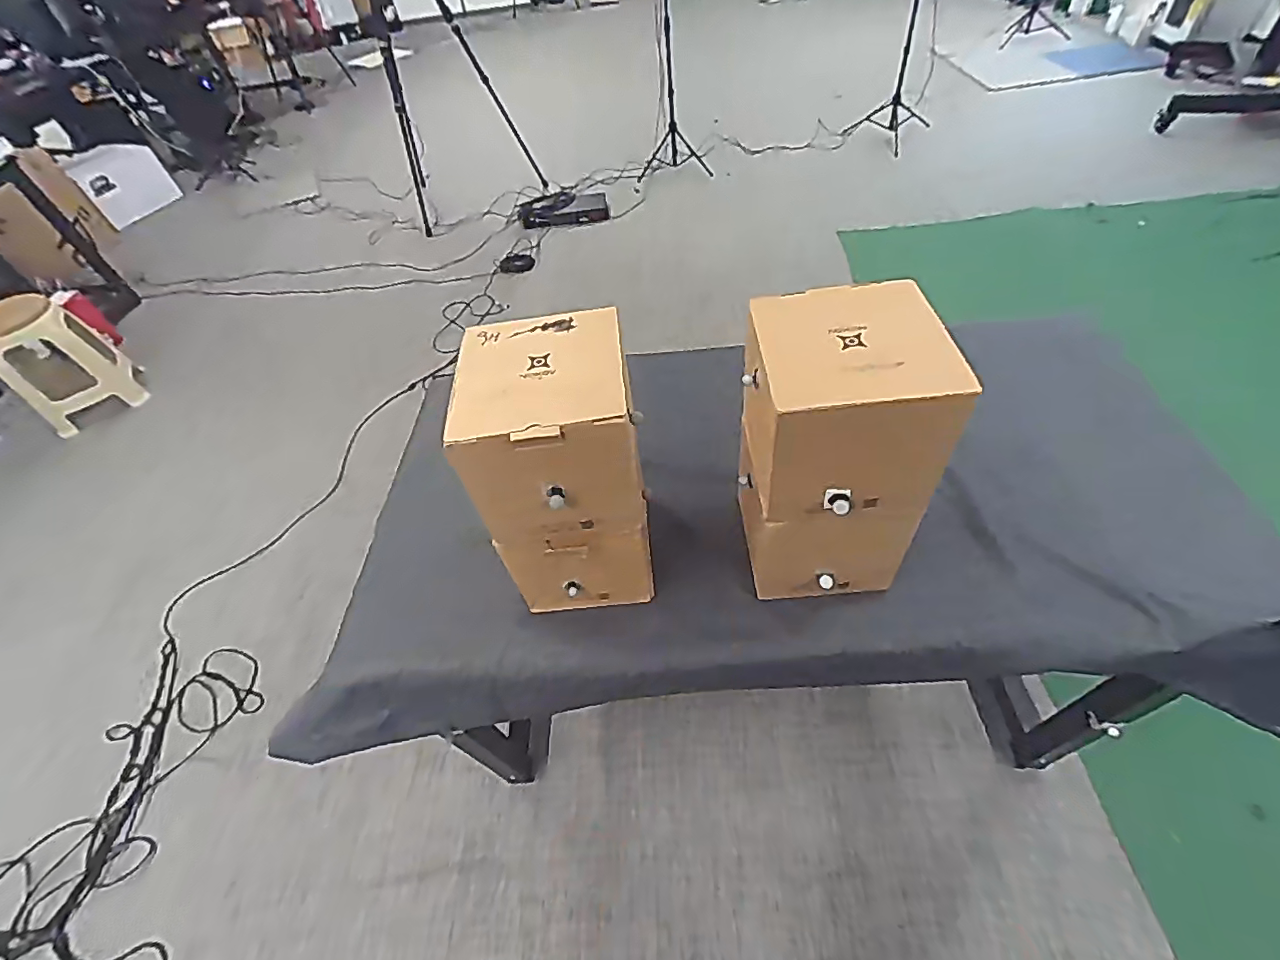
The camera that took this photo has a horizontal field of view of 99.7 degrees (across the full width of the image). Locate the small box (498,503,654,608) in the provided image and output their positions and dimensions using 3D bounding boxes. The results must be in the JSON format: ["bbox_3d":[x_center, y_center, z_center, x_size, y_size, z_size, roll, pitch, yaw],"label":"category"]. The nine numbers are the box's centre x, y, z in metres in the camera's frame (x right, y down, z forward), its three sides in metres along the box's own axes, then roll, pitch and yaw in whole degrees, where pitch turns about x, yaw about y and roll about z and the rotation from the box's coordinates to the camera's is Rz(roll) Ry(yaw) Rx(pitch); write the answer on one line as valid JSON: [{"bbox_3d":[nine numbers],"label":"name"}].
[{"bbox_3d":[-0.074,0.047,0.711,0.168,0.176,0.179,-7,50,2],"label":"small box"}]

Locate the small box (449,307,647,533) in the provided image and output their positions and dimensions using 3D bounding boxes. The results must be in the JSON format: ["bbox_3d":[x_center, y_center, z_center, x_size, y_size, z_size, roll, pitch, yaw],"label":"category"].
[{"bbox_3d":[-0.086,-0.056,0.585,0.168,0.176,0.179,-7,50,2],"label":"small box"}]

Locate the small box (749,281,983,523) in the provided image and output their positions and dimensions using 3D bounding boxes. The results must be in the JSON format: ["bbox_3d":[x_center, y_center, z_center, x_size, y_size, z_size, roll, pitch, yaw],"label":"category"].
[{"bbox_3d":[0.206,-0.077,0.557,0.168,0.176,0.179,-6,50,5],"label":"small box"}]

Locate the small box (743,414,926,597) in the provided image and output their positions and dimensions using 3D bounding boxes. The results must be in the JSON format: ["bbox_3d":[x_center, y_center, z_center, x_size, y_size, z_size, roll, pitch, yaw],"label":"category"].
[{"bbox_3d":[0.224,0.027,0.681,0.168,0.176,0.179,-6,49,4],"label":"small box"}]
